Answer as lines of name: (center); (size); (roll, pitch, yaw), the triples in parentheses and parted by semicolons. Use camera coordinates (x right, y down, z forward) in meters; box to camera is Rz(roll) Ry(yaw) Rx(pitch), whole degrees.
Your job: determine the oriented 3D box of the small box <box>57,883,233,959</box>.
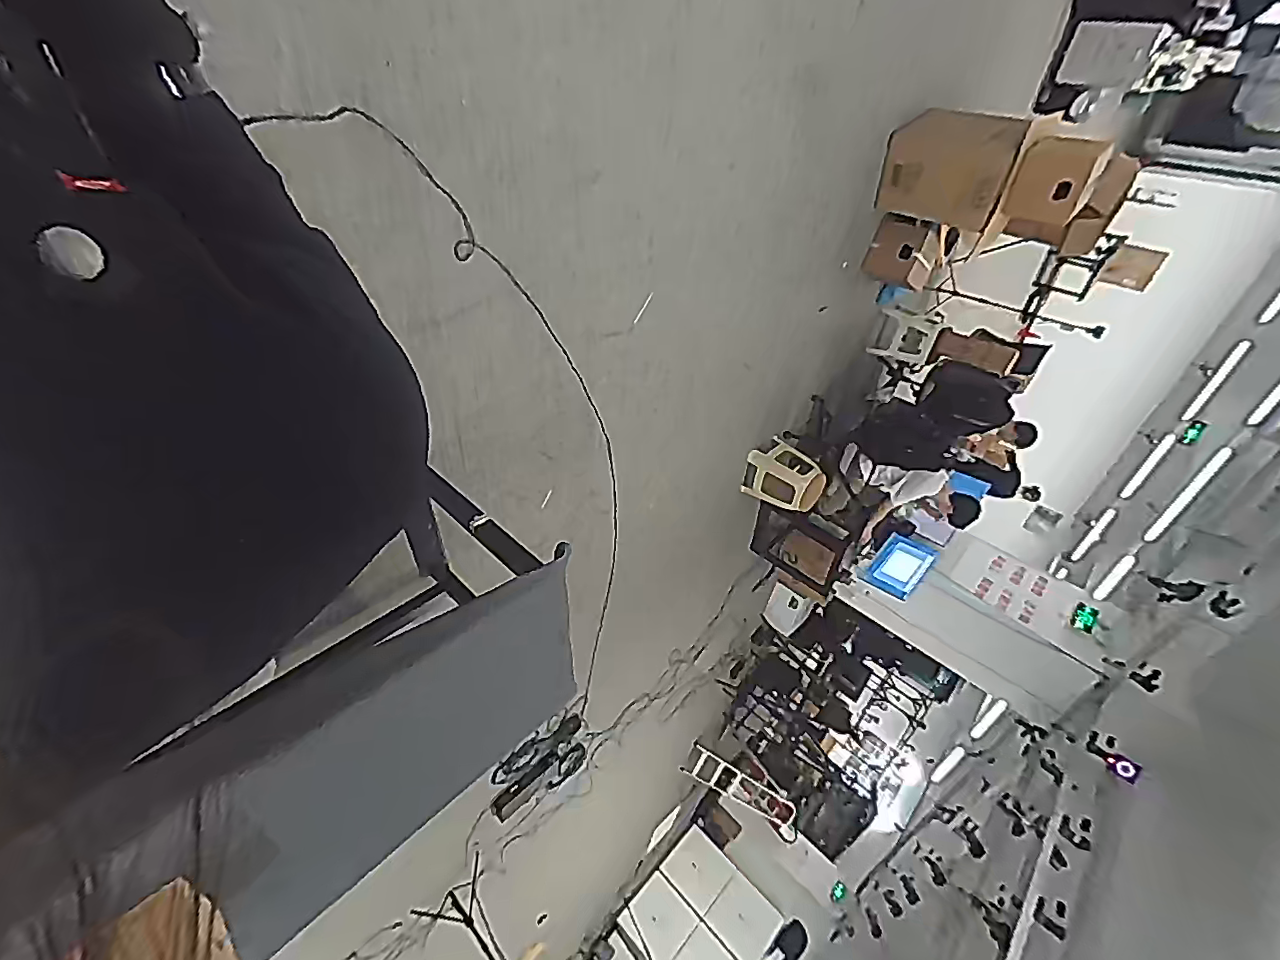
small box: (-0.775, 0.794, 0.859); (0.168, 0.176, 0.179); (-31, 141, -38)
